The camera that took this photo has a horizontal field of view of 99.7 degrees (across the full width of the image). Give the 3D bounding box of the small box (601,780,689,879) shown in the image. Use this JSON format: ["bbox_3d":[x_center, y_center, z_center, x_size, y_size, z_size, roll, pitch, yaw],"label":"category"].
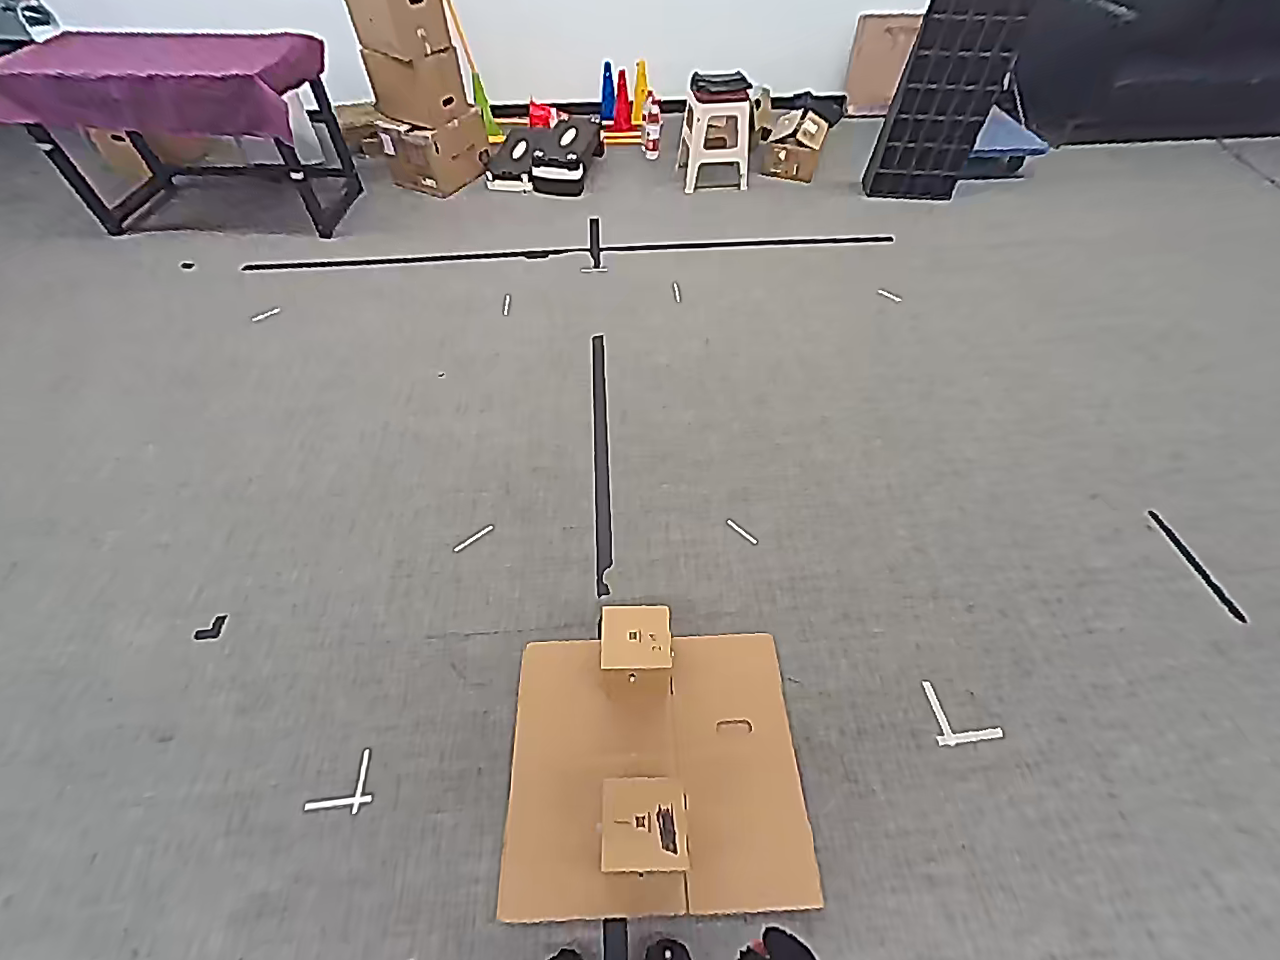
[{"bbox_3d":[0.008,0.756,1.168,0.179,0.176,0.168,0,51,-1],"label":"small box"}]

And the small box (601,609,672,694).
[{"bbox_3d":[-0.008,0.451,1.413,0.179,0.176,0.168,1,51,-1],"label":"small box"}]
